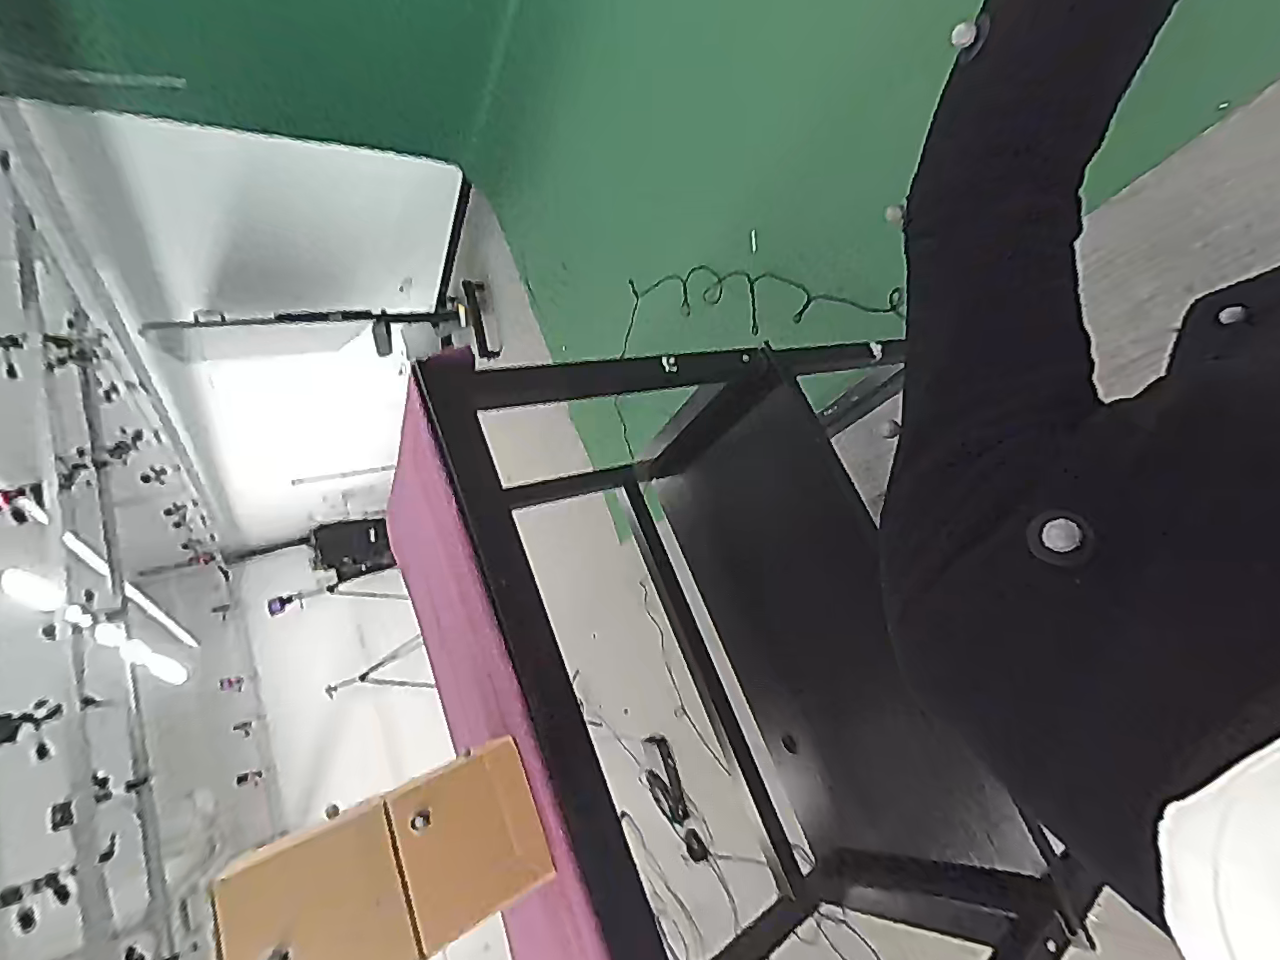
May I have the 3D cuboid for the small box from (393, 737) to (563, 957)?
[{"bbox_3d":[-0.221,0.473,0.729,0.168,0.176,0.179,-47,62,53],"label":"small box"}]

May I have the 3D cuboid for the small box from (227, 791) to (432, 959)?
[{"bbox_3d":[-0.358,0.505,0.642,0.168,0.176,0.179,-44,64,54],"label":"small box"}]
